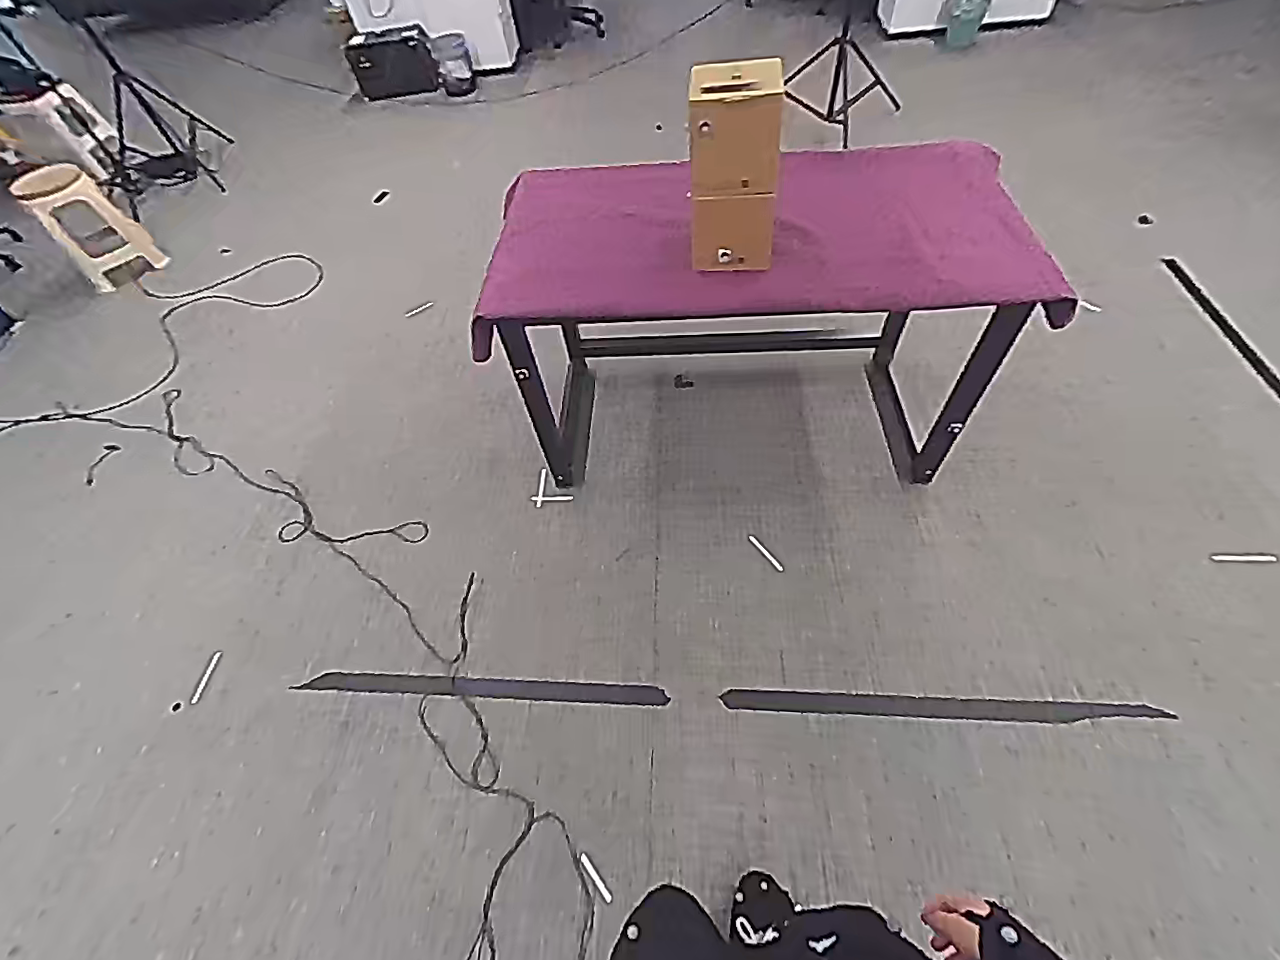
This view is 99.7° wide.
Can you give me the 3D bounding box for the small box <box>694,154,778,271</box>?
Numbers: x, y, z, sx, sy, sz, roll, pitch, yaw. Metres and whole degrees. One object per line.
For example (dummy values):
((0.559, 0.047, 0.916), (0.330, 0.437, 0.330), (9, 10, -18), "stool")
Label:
((0.204, -0.577, 1.173), (0.168, 0.176, 0.179), (1, 55, 8), "small box")
